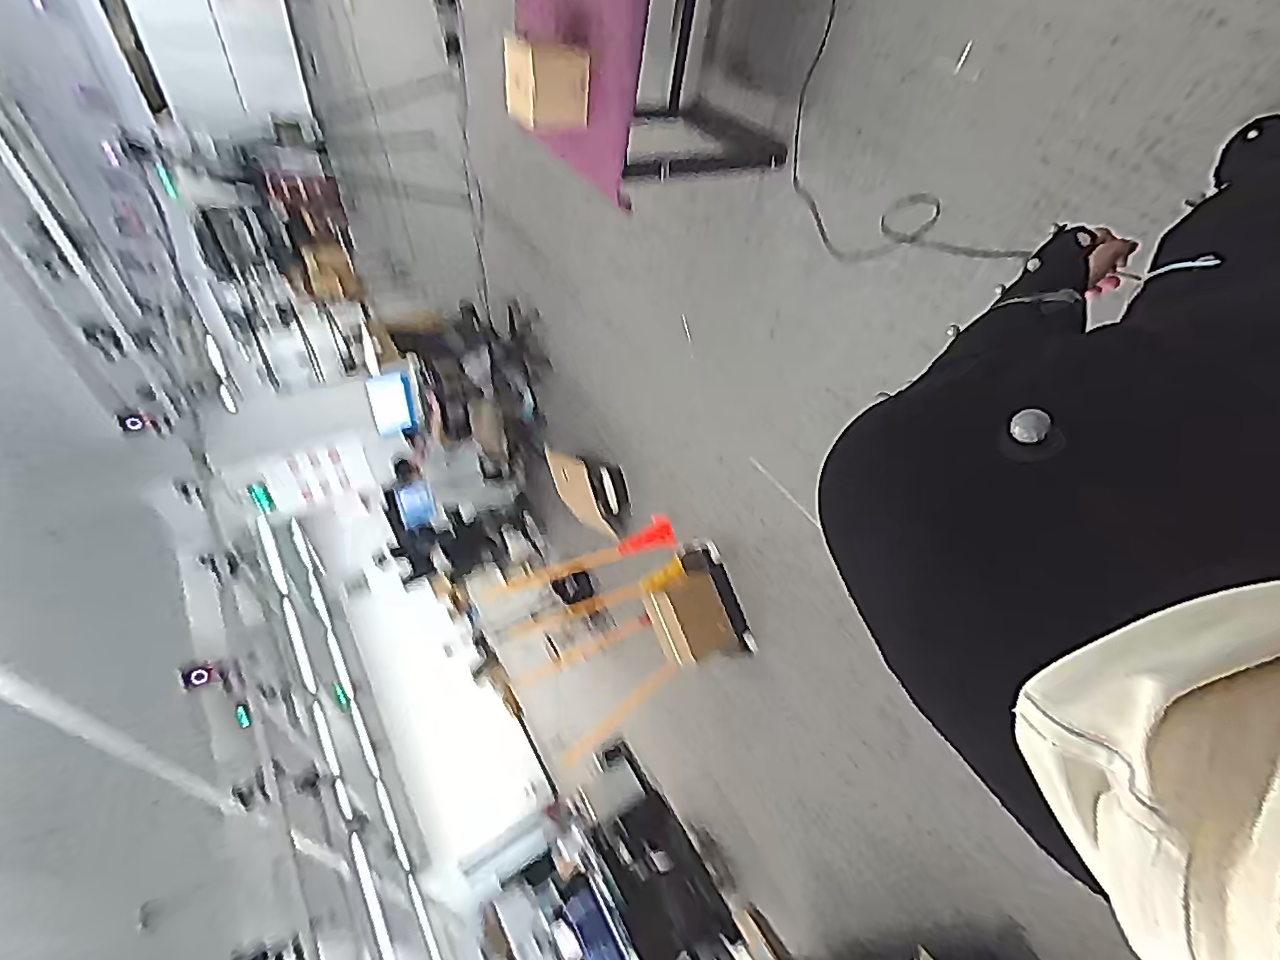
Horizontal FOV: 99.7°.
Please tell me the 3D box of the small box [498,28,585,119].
[{"bbox_3d":[-0.267,-1.093,1.460,0.179,0.176,0.168,49,147,31],"label":"small box"}]
